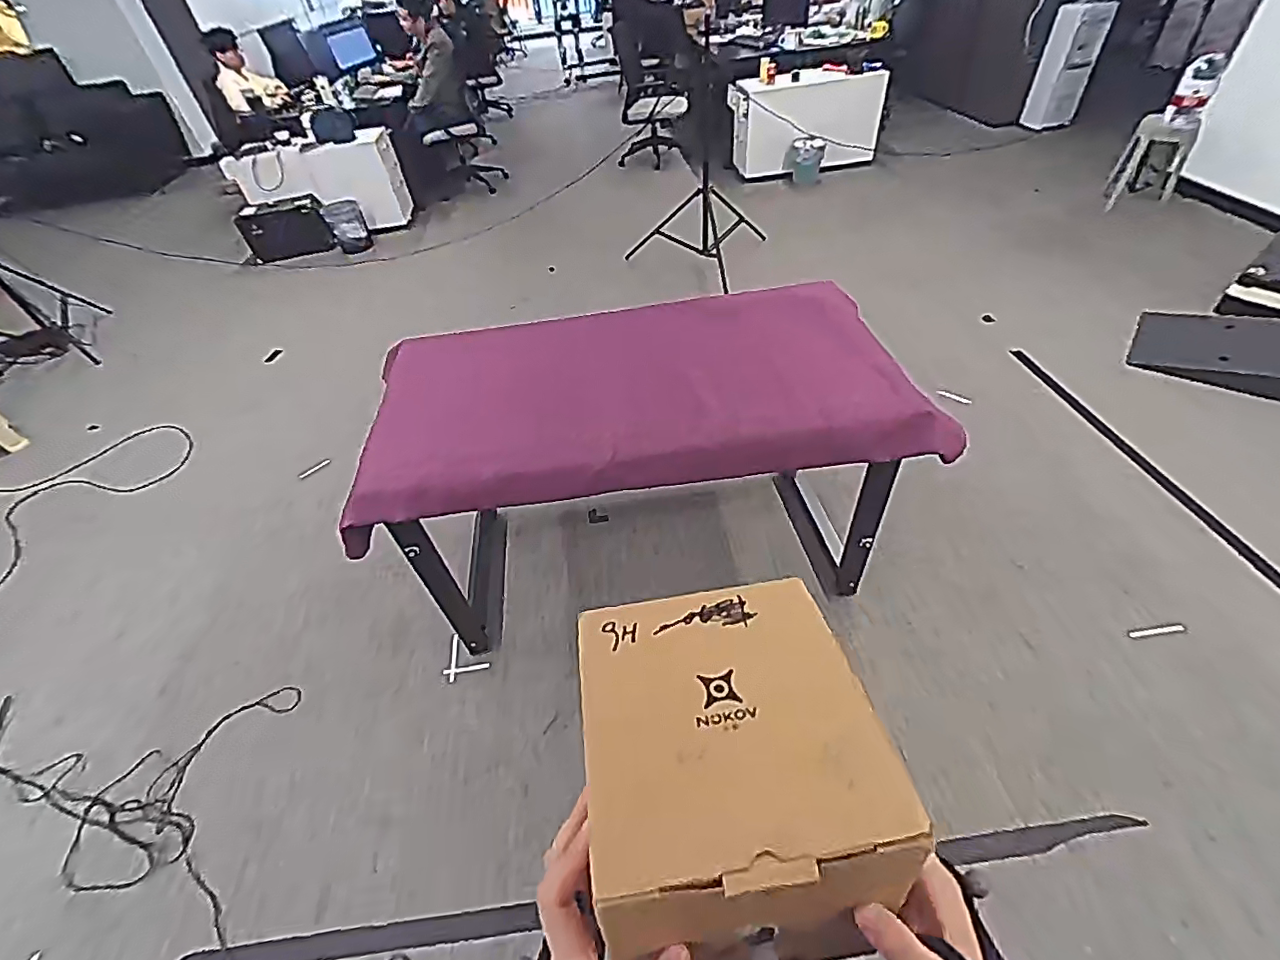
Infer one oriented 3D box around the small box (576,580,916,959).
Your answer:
[{"bbox_3d":[0.052,0.199,0.369,0.168,0.176,0.179,-8,36,-4],"label":"small box"}]
